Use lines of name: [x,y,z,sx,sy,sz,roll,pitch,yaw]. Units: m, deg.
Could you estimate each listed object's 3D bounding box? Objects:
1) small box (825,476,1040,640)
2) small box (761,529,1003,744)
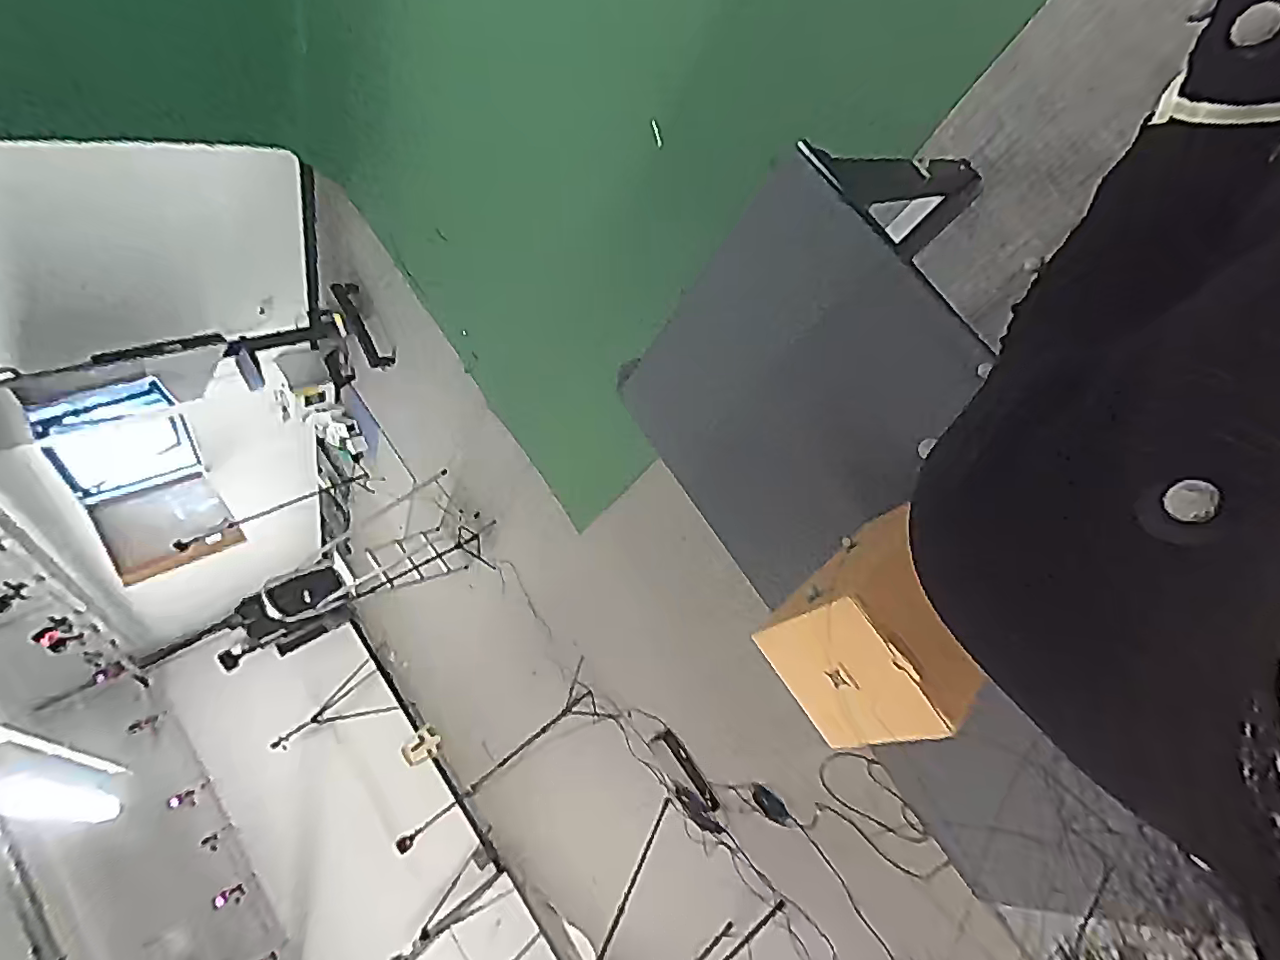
small box: [0.404,0.123,0.751,0.168,0.176,0.179,53,141,9]
small box: [0.290,0.188,0.655,0.168,0.176,0.179,54,141,10]
